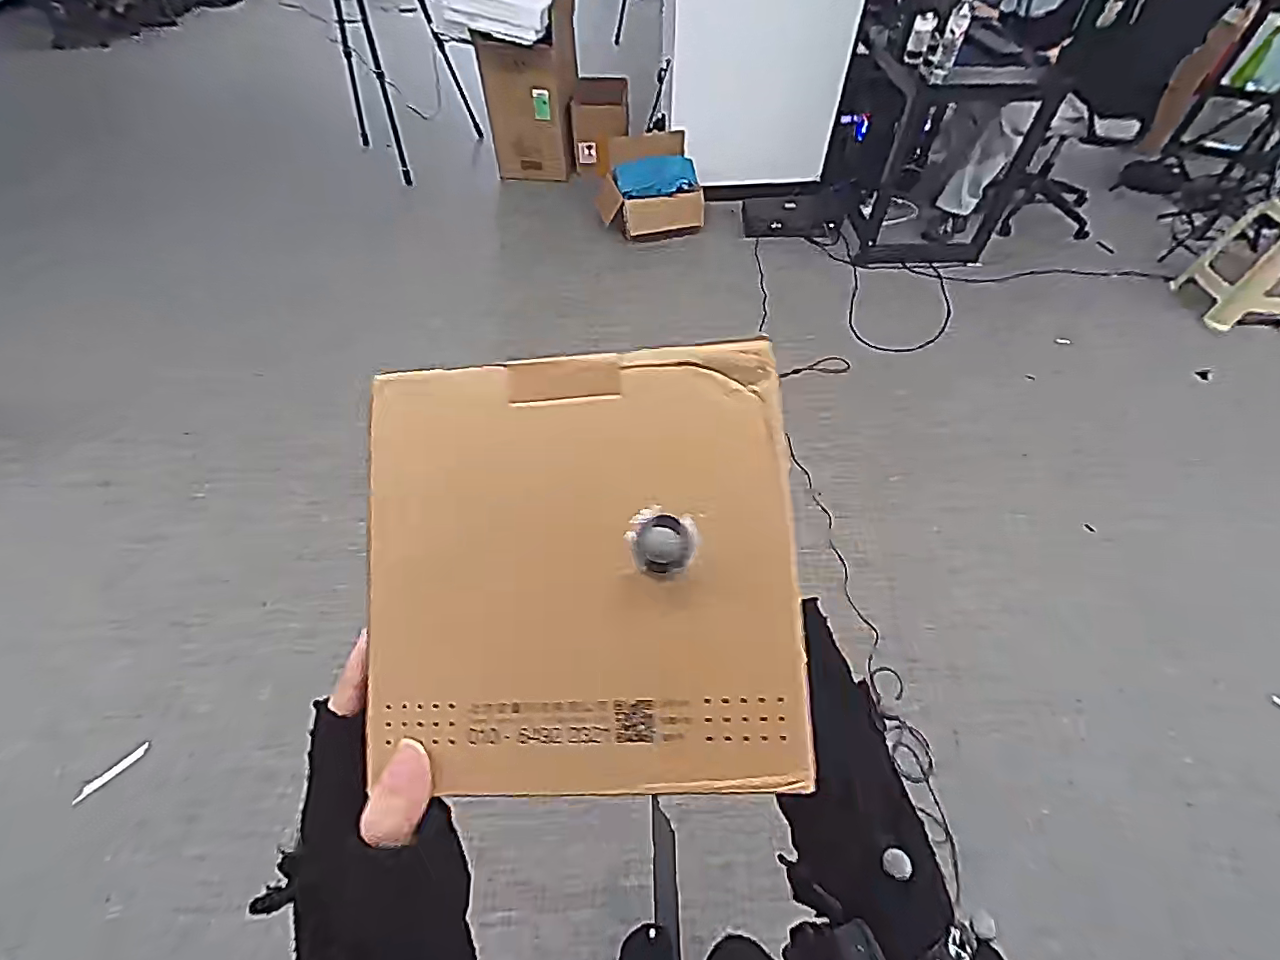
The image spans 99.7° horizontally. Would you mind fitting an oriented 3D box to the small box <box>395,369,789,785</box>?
[{"bbox_3d":[-0.013,0.052,0.307,0.168,0.179,0.176,-4,83,9],"label":"small box"}]
